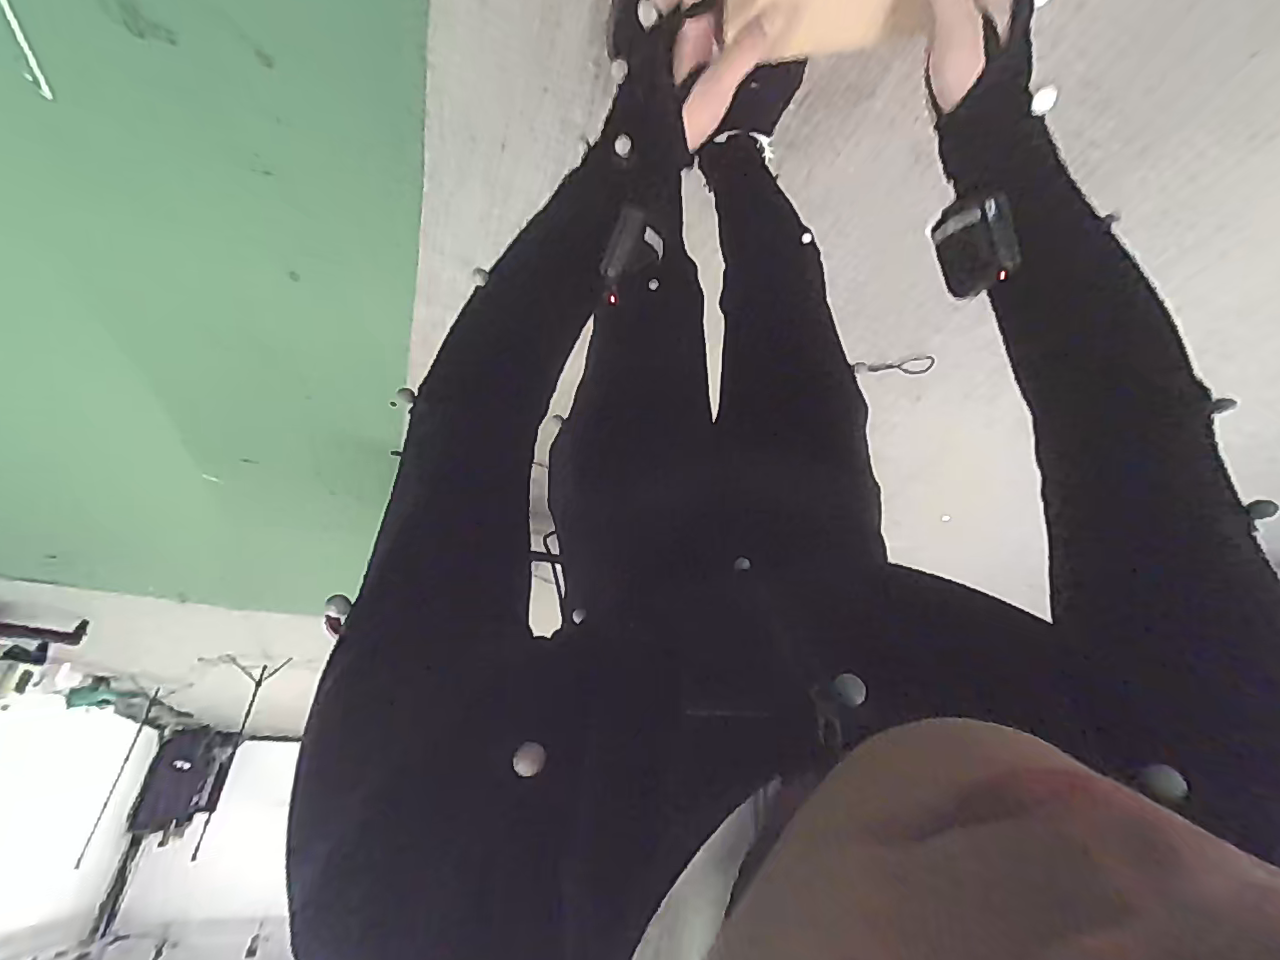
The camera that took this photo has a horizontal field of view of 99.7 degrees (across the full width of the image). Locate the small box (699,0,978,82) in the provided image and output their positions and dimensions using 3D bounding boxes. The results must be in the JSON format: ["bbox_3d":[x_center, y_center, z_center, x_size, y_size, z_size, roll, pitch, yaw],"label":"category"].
[{"bbox_3d":[0.135,-0.411,0.361,0.179,0.176,0.168,-9,153,-2],"label":"small box"}]
